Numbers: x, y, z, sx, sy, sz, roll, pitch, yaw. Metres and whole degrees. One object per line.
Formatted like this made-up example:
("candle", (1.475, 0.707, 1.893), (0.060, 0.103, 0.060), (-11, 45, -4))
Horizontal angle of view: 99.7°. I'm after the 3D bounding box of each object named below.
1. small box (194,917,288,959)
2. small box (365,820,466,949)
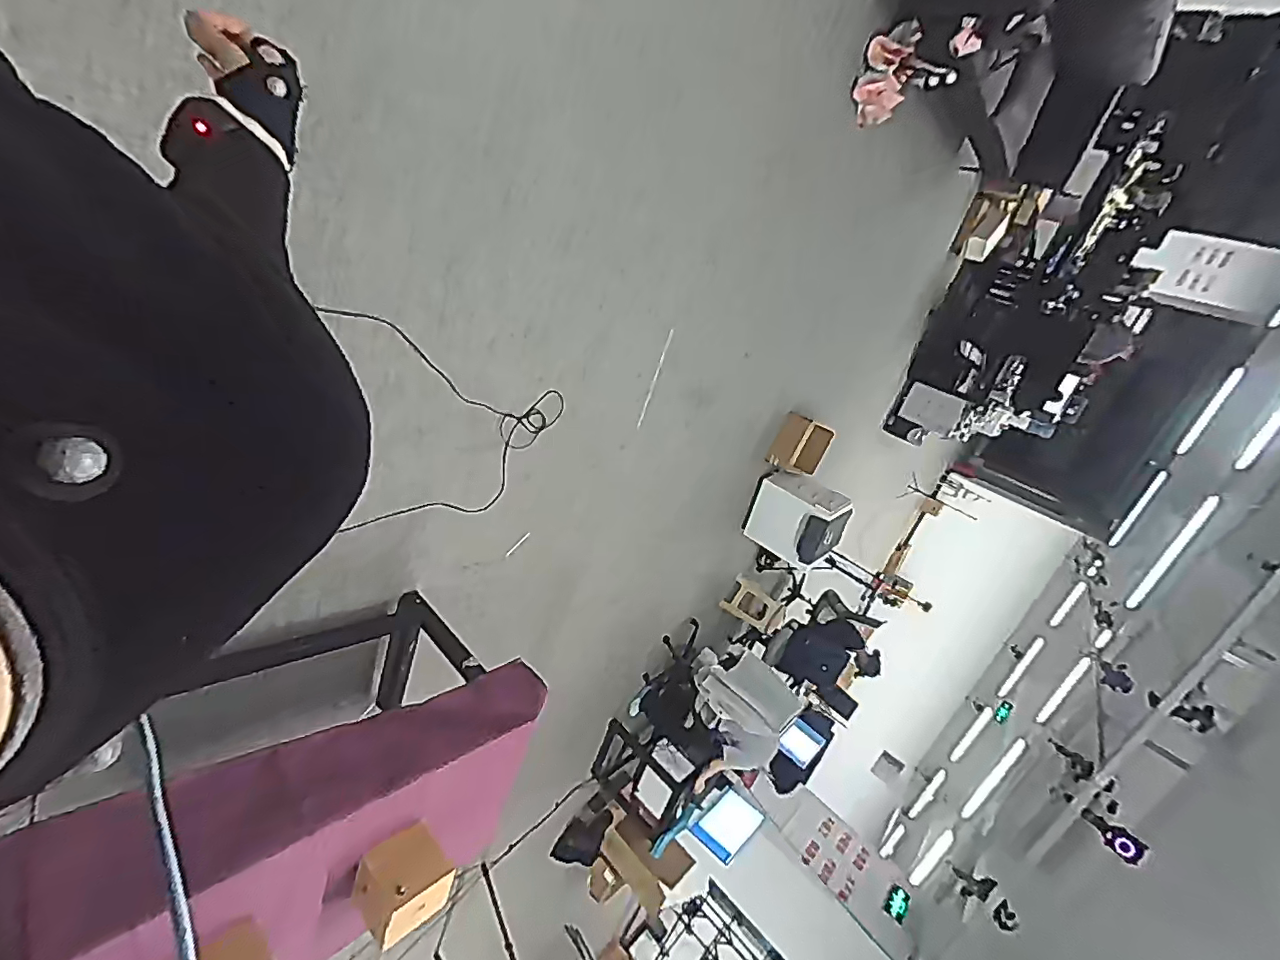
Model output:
("small box", (-0.835, 1.070, 1.114), (0.179, 0.176, 0.168), (-5, 121, -50))
("small box", (-0.591, 1.049, 1.420), (0.179, 0.176, 0.168), (-7, 123, -49))
